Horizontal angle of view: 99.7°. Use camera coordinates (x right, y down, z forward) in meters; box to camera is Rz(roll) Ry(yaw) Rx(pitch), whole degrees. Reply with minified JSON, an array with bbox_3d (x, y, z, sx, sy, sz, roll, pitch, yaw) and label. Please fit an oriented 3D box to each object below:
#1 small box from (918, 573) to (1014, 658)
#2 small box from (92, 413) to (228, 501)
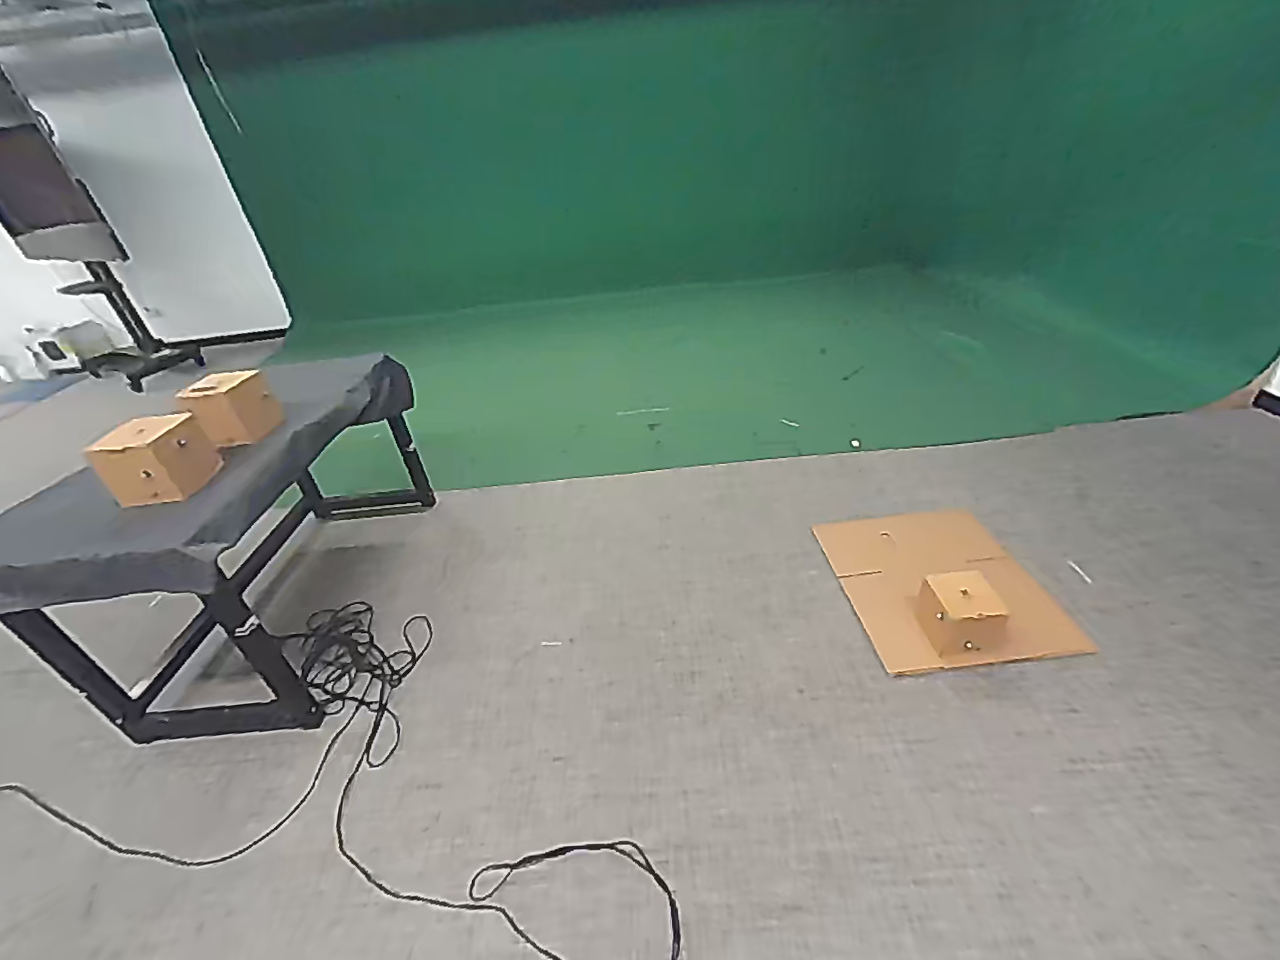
[{"bbox_3d":[0.948,0.399,1.595,0.168,0.176,0.179,-6,34,2],"label":"small box"},{"bbox_3d":[-1.231,-0.055,1.407,0.168,0.176,0.179,-5,32,1],"label":"small box"}]
